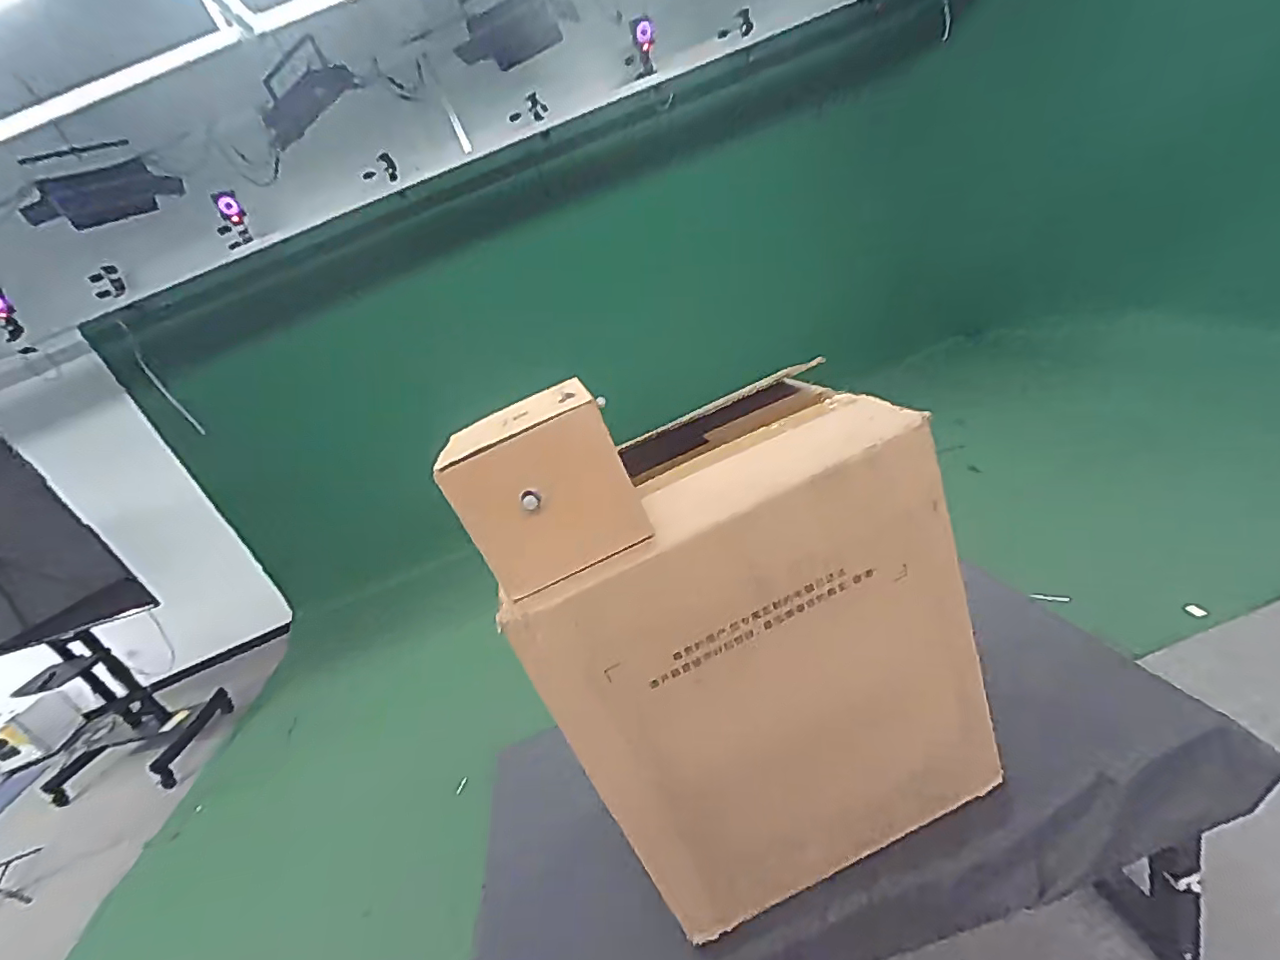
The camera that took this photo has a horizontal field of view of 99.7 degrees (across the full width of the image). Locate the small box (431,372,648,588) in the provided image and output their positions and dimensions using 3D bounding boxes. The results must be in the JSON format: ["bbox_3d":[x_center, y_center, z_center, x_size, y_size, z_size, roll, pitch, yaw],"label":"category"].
[{"bbox_3d":[-0.112,-0.004,0.635,0.179,0.176,0.168,-26,23,-3],"label":"small box"}]
